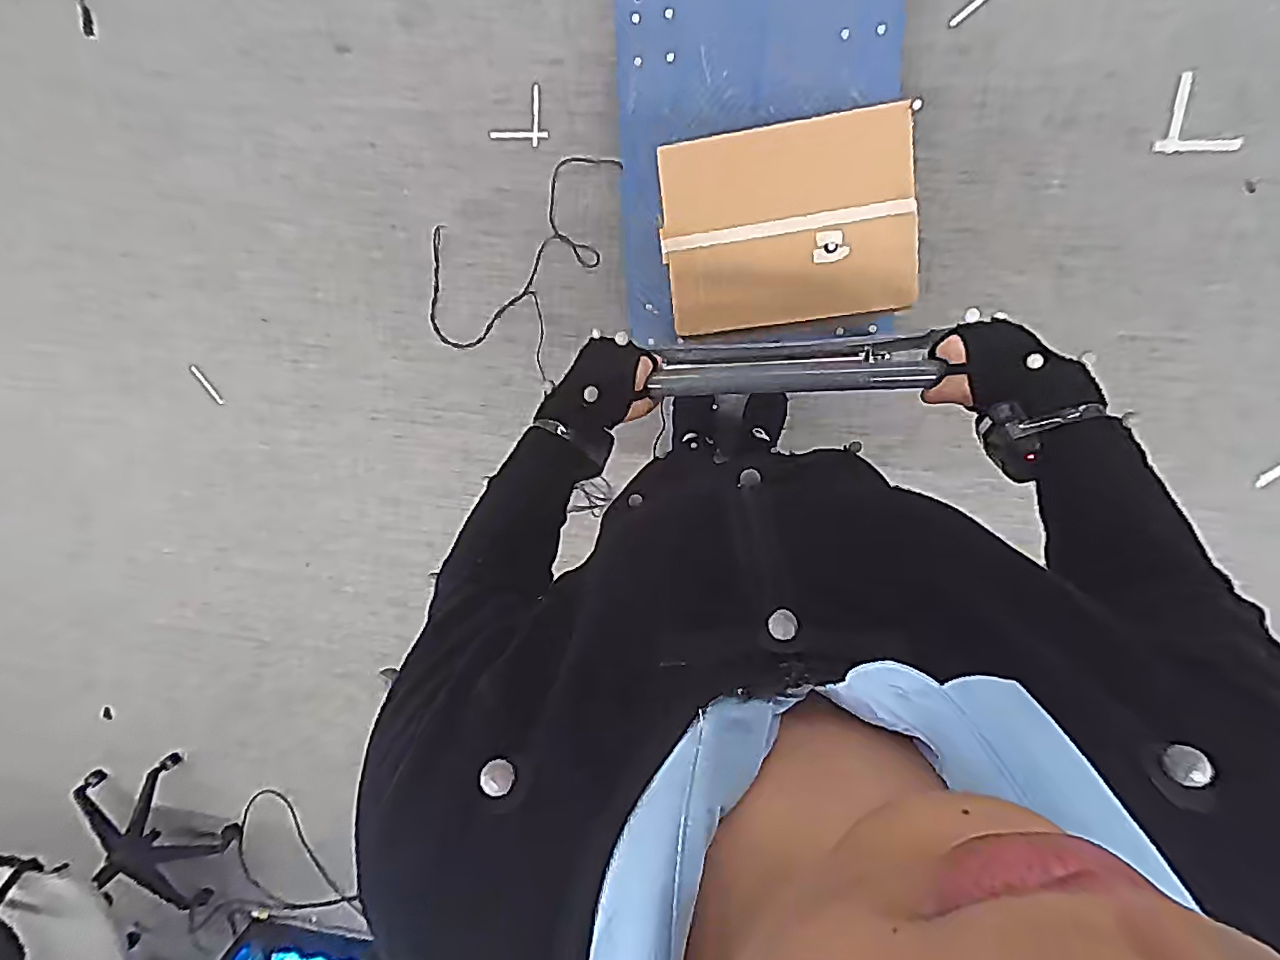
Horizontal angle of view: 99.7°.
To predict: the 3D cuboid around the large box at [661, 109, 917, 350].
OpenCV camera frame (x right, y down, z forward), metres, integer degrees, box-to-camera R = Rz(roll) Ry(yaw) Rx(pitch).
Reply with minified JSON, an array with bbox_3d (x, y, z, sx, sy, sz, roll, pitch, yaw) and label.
[{"bbox_3d":[0.267,-0.445,1.055,0.408,0.320,0.320,-6,101,8],"label":"large box"}]
